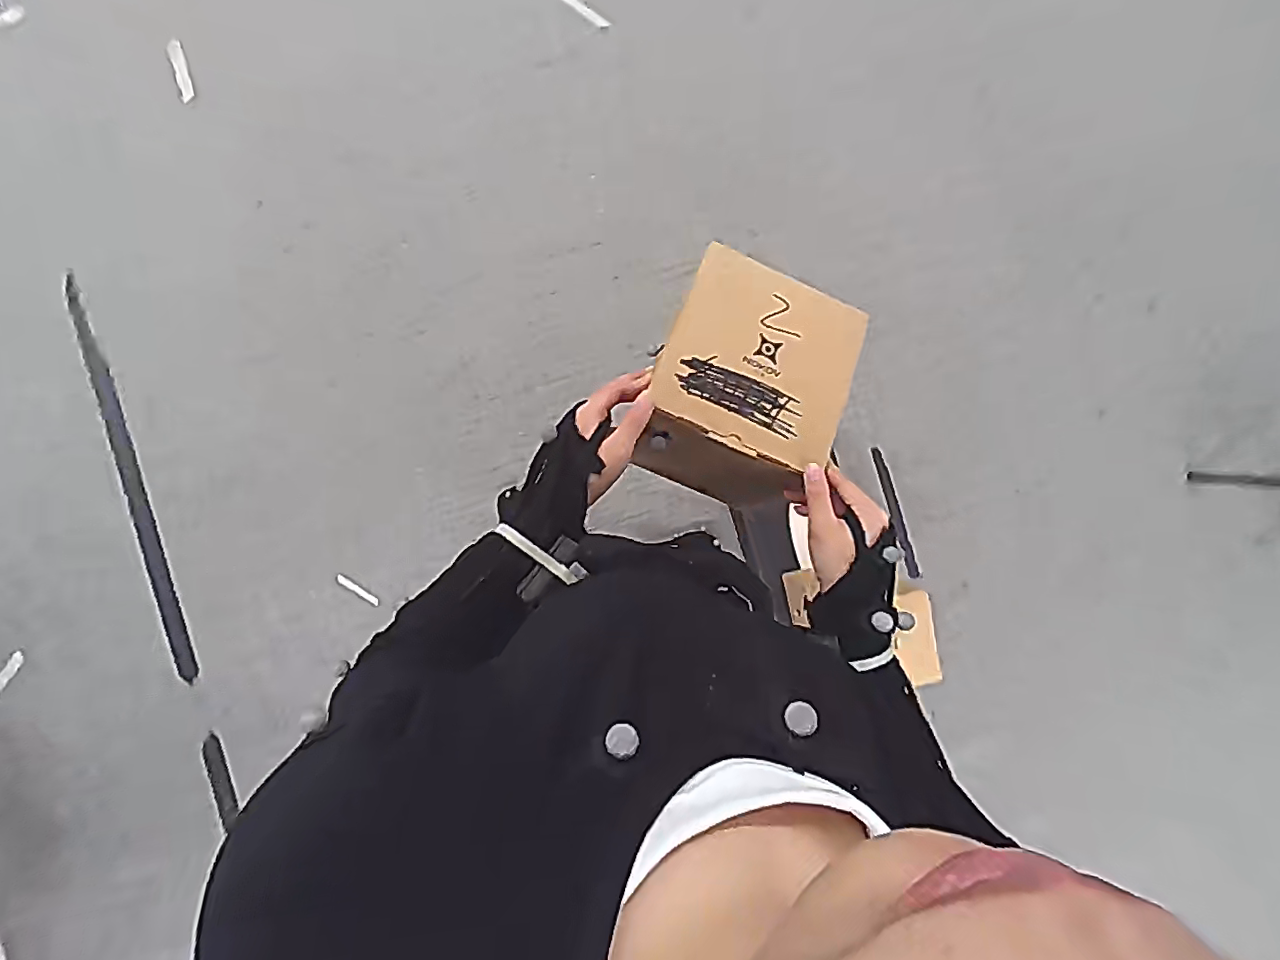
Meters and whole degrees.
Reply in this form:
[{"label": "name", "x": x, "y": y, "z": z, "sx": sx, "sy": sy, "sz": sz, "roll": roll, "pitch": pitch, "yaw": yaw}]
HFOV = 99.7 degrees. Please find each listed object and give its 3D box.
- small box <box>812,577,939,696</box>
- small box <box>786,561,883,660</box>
[{"label": "small box", "x": 0.461, "y": 0.303, "z": 1.079, "sx": 0.168, "sy": 0.176, "sz": 0.179, "roll": -9, "pitch": 90, "yaw": -2}, {"label": "small box", "x": 0.449, "y": 0.292, "z": 1.242, "sx": 0.179, "sy": 0.176, "sz": 0.168, "roll": -12, "pitch": 91, "yaw": -3}]
